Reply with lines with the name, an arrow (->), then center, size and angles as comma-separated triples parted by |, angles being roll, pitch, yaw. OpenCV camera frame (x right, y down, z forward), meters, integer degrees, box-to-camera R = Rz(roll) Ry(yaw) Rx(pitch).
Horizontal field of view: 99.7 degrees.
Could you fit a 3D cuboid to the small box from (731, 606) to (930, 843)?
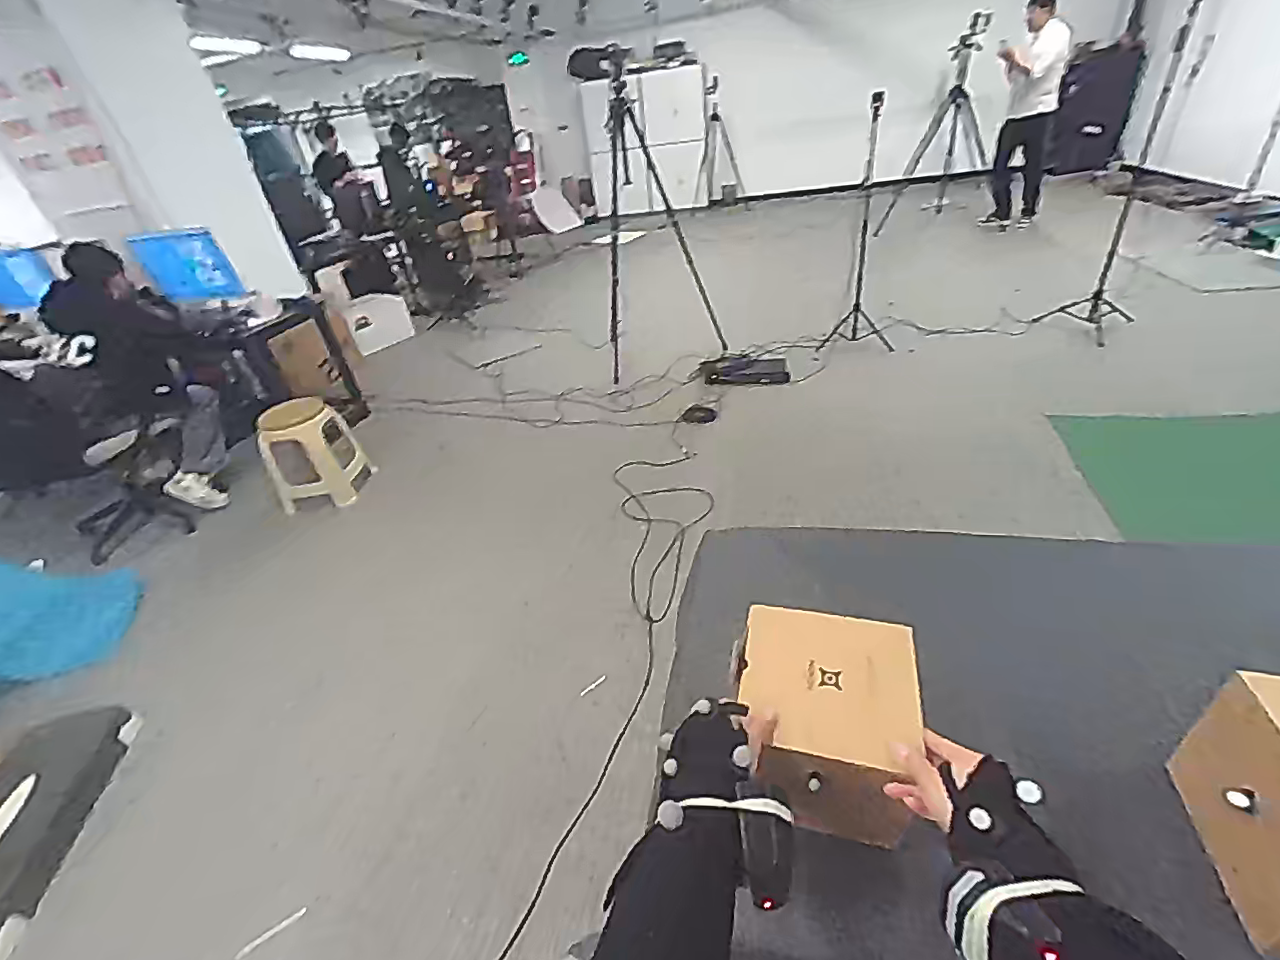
small box -> 0.200, 0.267, 0.597 | 0.179, 0.176, 0.168 | 5, 40, 16
